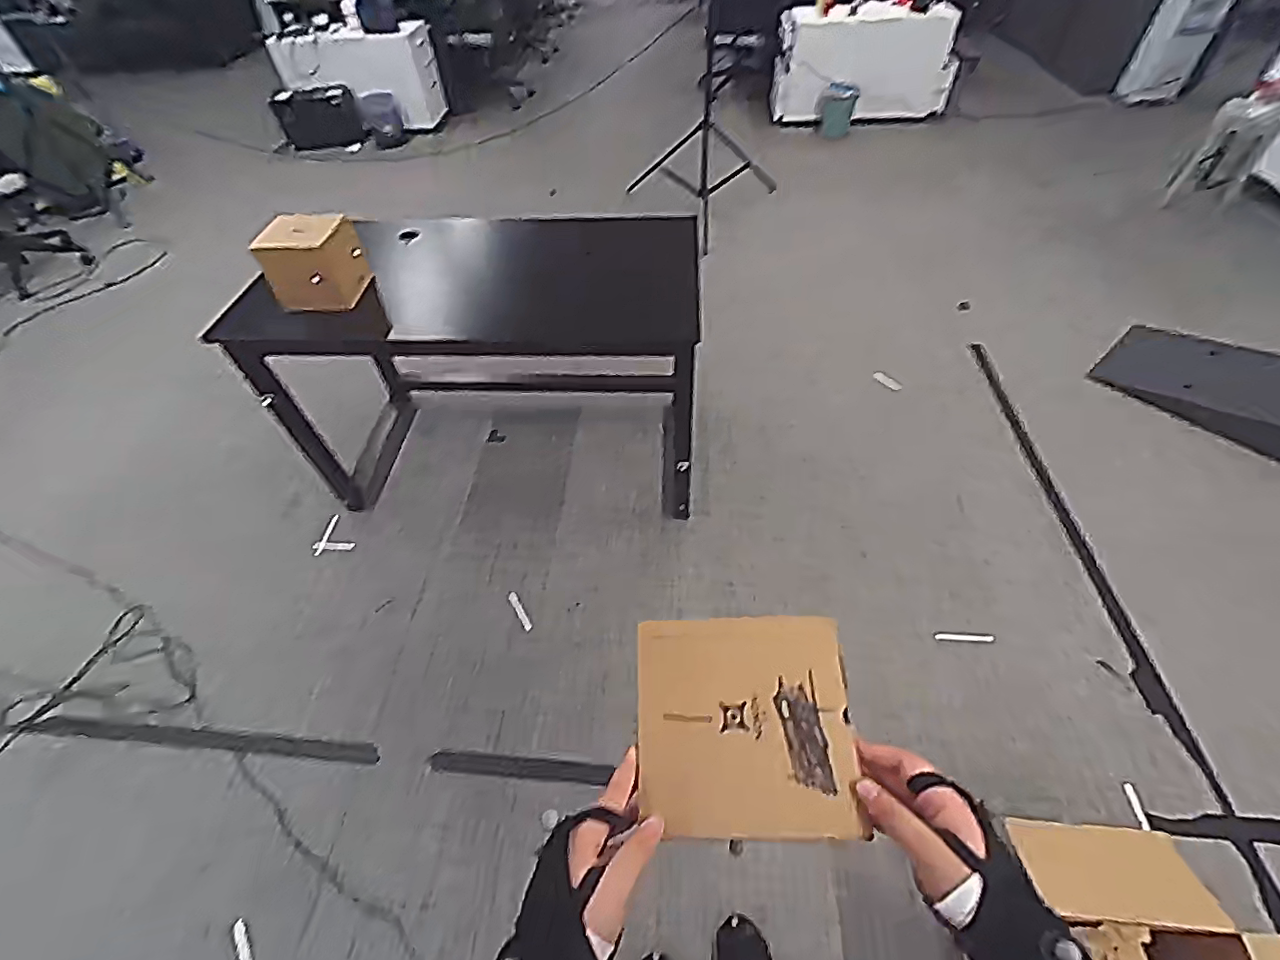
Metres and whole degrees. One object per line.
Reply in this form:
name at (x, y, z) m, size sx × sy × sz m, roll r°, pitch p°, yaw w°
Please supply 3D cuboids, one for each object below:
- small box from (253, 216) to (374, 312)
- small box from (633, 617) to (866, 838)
small box at (-0.805, -0.539, 1.358) m, size 0.179 × 0.176 × 0.168 m, roll -1°, pitch 50°, yaw 3°
small box at (0.087, 0.232, 0.511) m, size 0.179 × 0.176 × 0.168 m, roll -2°, pitch 60°, yaw 4°
